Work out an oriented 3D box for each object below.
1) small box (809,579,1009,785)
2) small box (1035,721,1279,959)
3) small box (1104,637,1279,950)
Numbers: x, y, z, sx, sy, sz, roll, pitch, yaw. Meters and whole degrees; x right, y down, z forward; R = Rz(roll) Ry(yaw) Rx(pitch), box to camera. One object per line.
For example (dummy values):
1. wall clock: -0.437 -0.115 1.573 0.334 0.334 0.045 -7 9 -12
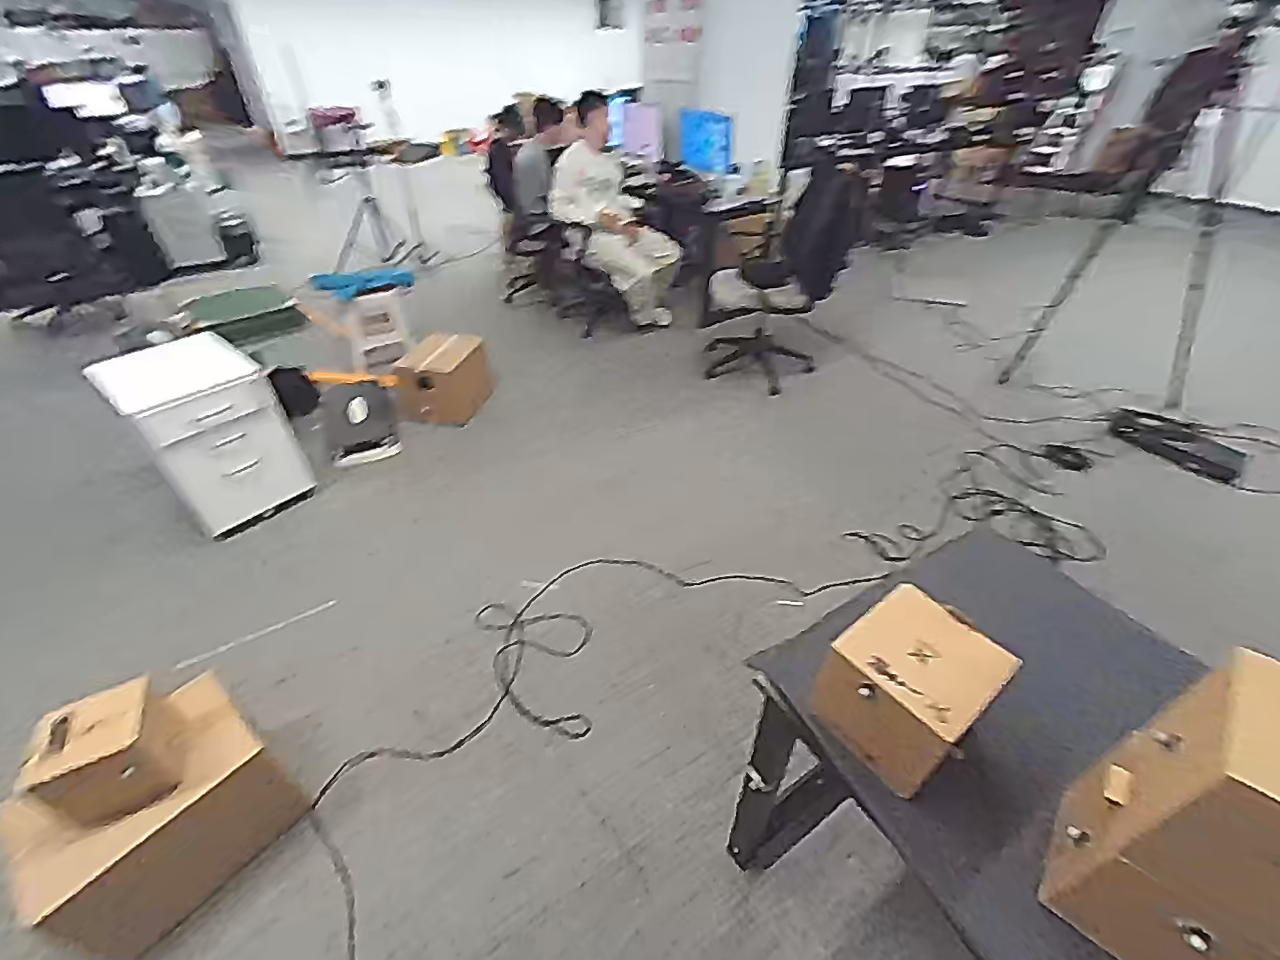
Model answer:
1. small box: 0.364 0.280 0.761 0.179 0.176 0.168 -26 45 -28
2. small box: 0.576 0.415 0.592 0.179 0.176 0.168 29 48 31
3. small box: 0.572 0.287 0.488 0.179 0.176 0.168 31 49 33
